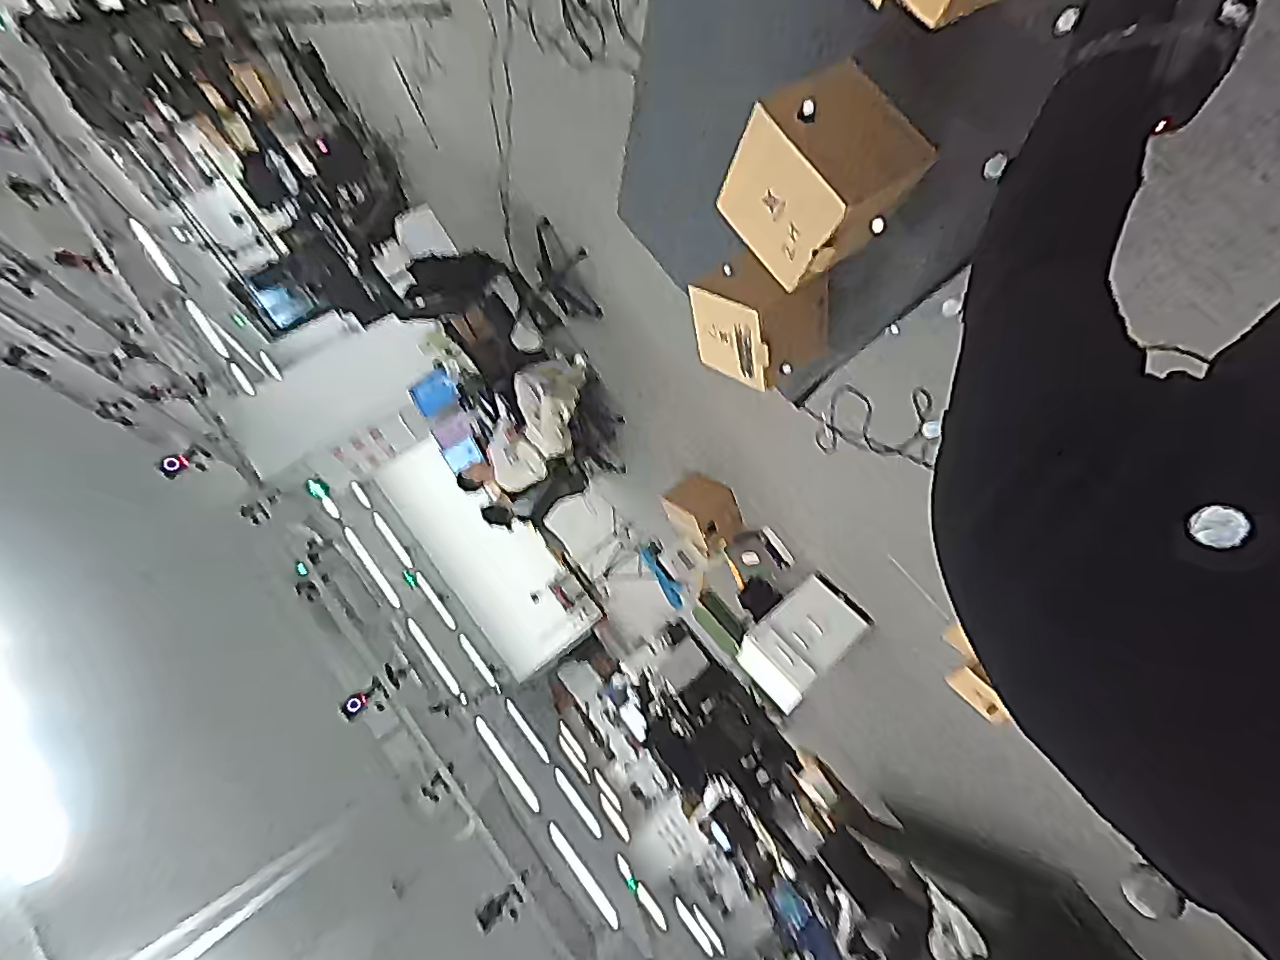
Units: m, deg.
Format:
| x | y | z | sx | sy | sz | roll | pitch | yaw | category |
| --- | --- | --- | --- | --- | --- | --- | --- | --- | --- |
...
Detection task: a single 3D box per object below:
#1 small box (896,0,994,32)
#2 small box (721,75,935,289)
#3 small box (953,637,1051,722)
| x | y | z | sx | sy | sz | roll | pitch | yaw | category |
| --- | --- | --- | --- | --- | --- | --- | --- | --- | --- |
| 0.280 | -0.522 | 0.427 | 0.168 | 0.176 | 0.179 | 51 | 163 | 11 | small box |
| 0.247 | -0.405 | 0.734 | 0.179 | 0.176 | 0.168 | 52 | 163 | 7 | small box |
| 1.174 | 0.646 | 1.752 | 0.179 | 0.176 | 0.168 | 44 | 159 | 27 | small box |
